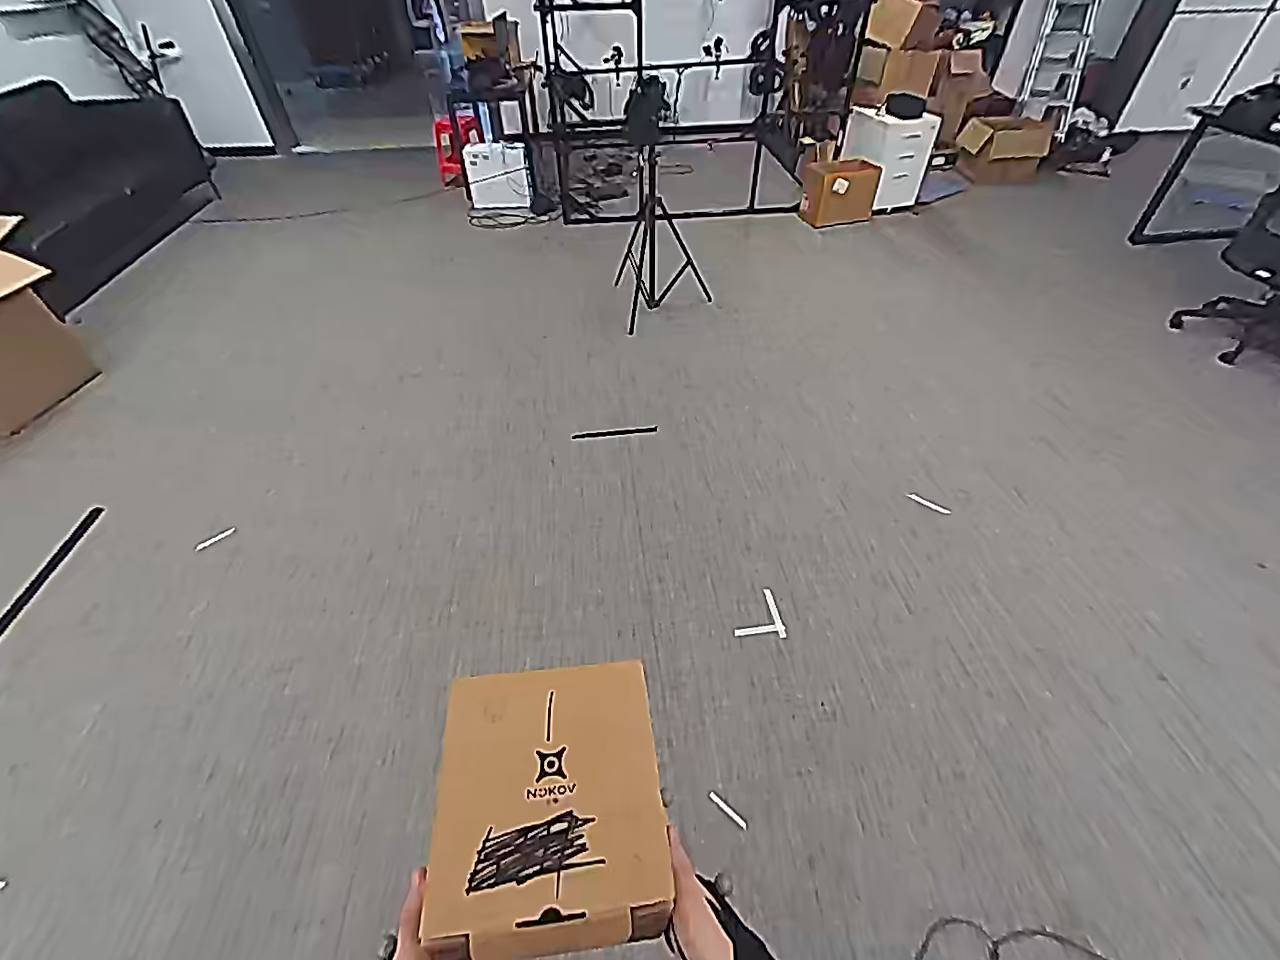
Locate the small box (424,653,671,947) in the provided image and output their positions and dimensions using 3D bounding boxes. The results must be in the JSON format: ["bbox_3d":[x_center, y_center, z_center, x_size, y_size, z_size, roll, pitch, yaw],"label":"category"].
[{"bbox_3d":[-0.068,0.276,0.465,0.168,0.176,0.179,-4,44,-6],"label":"small box"}]
